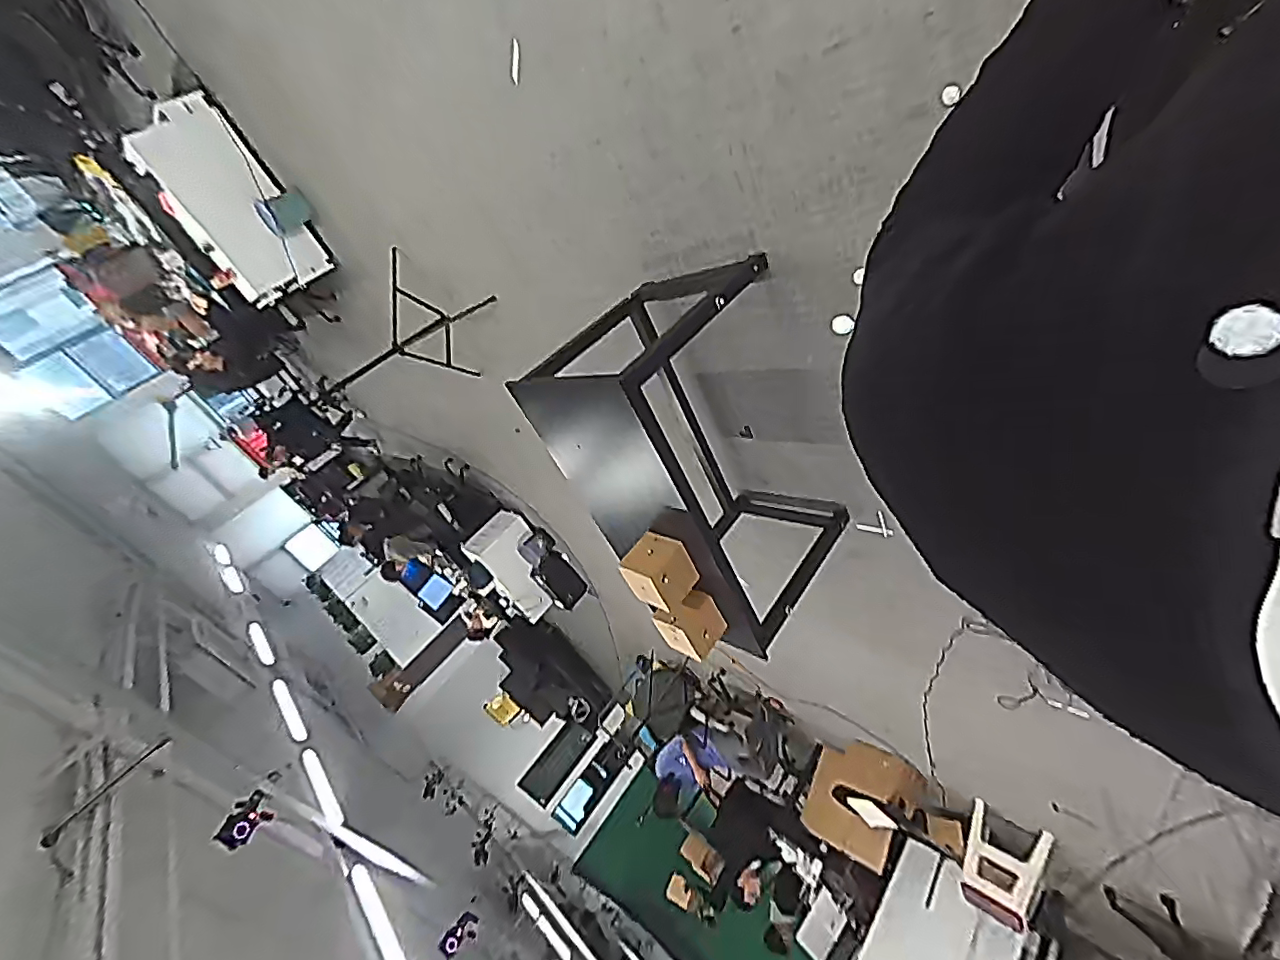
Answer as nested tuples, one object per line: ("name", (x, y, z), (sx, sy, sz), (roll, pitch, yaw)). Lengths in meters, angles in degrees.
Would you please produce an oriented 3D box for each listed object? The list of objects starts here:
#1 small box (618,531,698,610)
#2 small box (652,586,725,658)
("small box", (0.064, 0.297, 1.810), (0.168, 0.176, 0.179), (13, 141, 47))
("small box", (0.181, 0.501, 1.949), (0.168, 0.176, 0.179), (9, 138, 49))
